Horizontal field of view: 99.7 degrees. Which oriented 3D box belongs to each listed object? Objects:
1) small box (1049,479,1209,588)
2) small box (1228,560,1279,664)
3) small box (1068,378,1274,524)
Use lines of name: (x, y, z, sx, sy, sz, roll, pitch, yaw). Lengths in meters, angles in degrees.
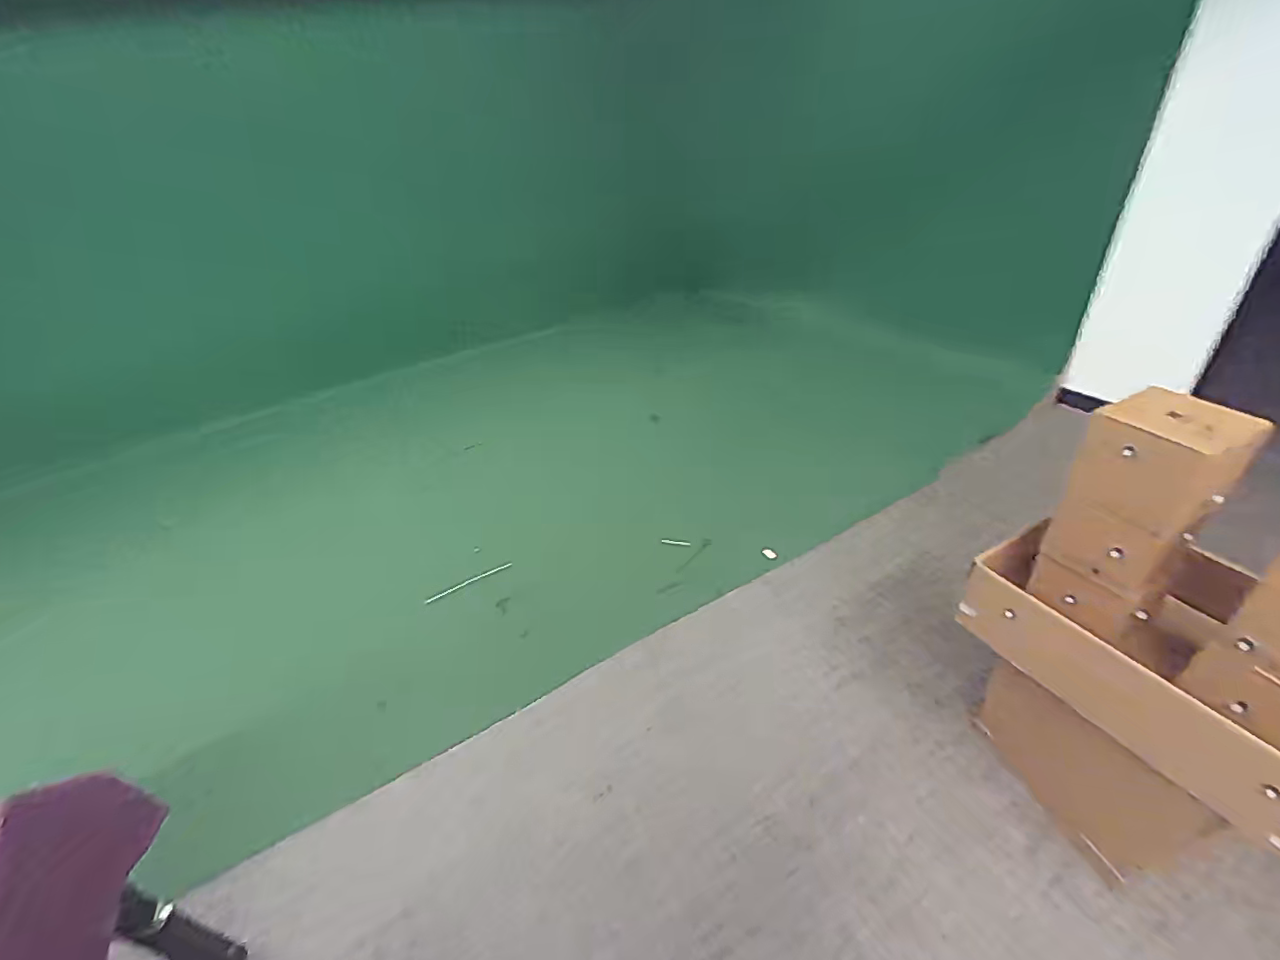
small box: (0.937, 0.077, 1.046, 0.179, 0.176, 0.168, -23, 38, -18)
small box: (1.083, 0.206, 0.835, 0.179, 0.176, 0.168, -21, 37, -16)
small box: (0.908, -0.052, 0.947, 0.168, 0.176, 0.179, -21, 38, -15)
